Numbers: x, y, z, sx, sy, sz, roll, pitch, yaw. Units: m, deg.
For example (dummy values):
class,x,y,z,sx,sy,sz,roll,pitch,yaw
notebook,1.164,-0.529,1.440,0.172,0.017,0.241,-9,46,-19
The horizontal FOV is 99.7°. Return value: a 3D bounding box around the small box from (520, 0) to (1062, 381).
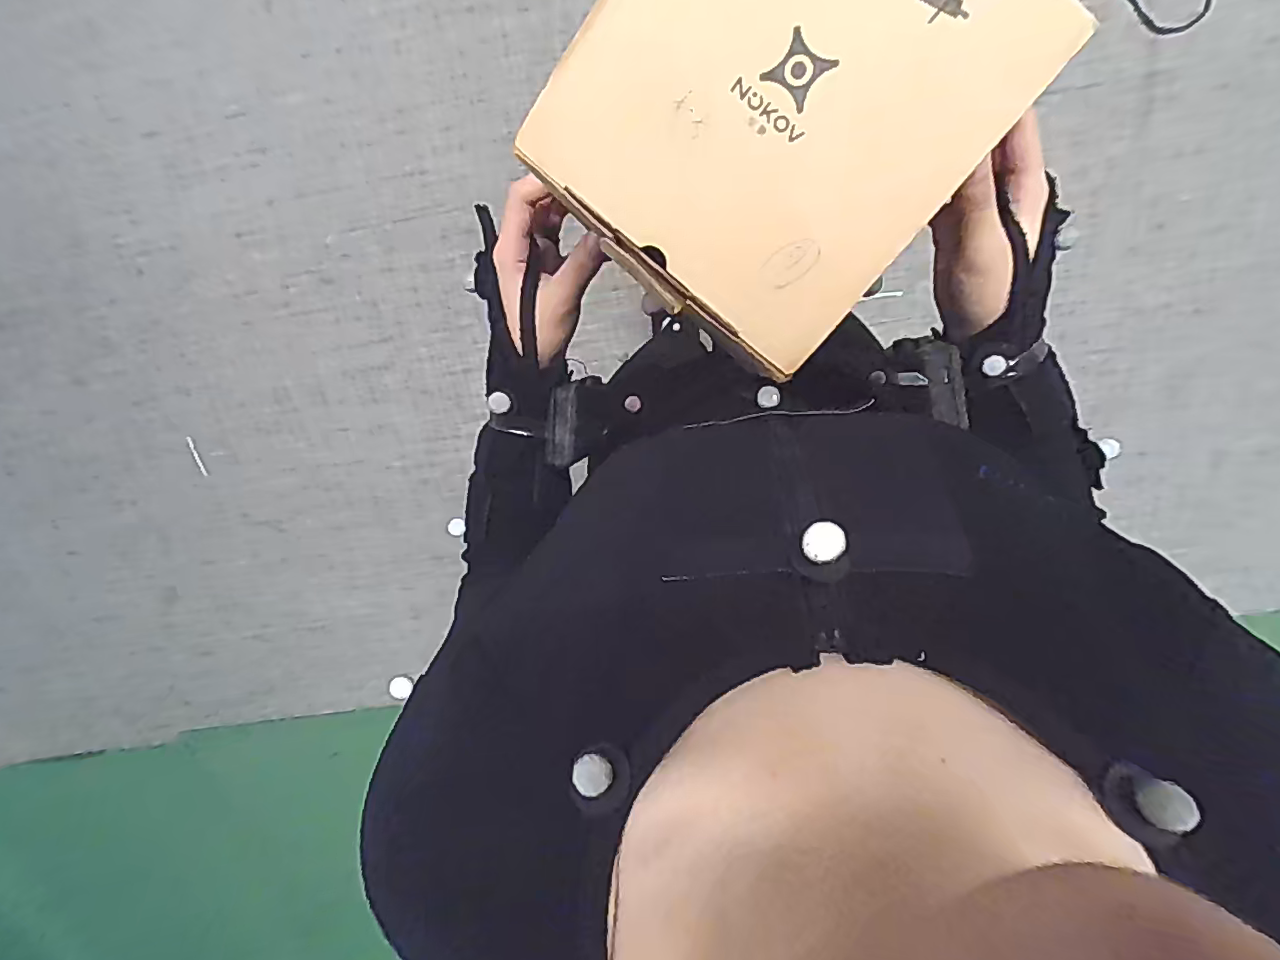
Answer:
class,x,y,z,sx,sy,sz,roll,pitch,yaw
small box,0.068,-0.178,0.313,0.168,0.176,0.179,39,105,-2
